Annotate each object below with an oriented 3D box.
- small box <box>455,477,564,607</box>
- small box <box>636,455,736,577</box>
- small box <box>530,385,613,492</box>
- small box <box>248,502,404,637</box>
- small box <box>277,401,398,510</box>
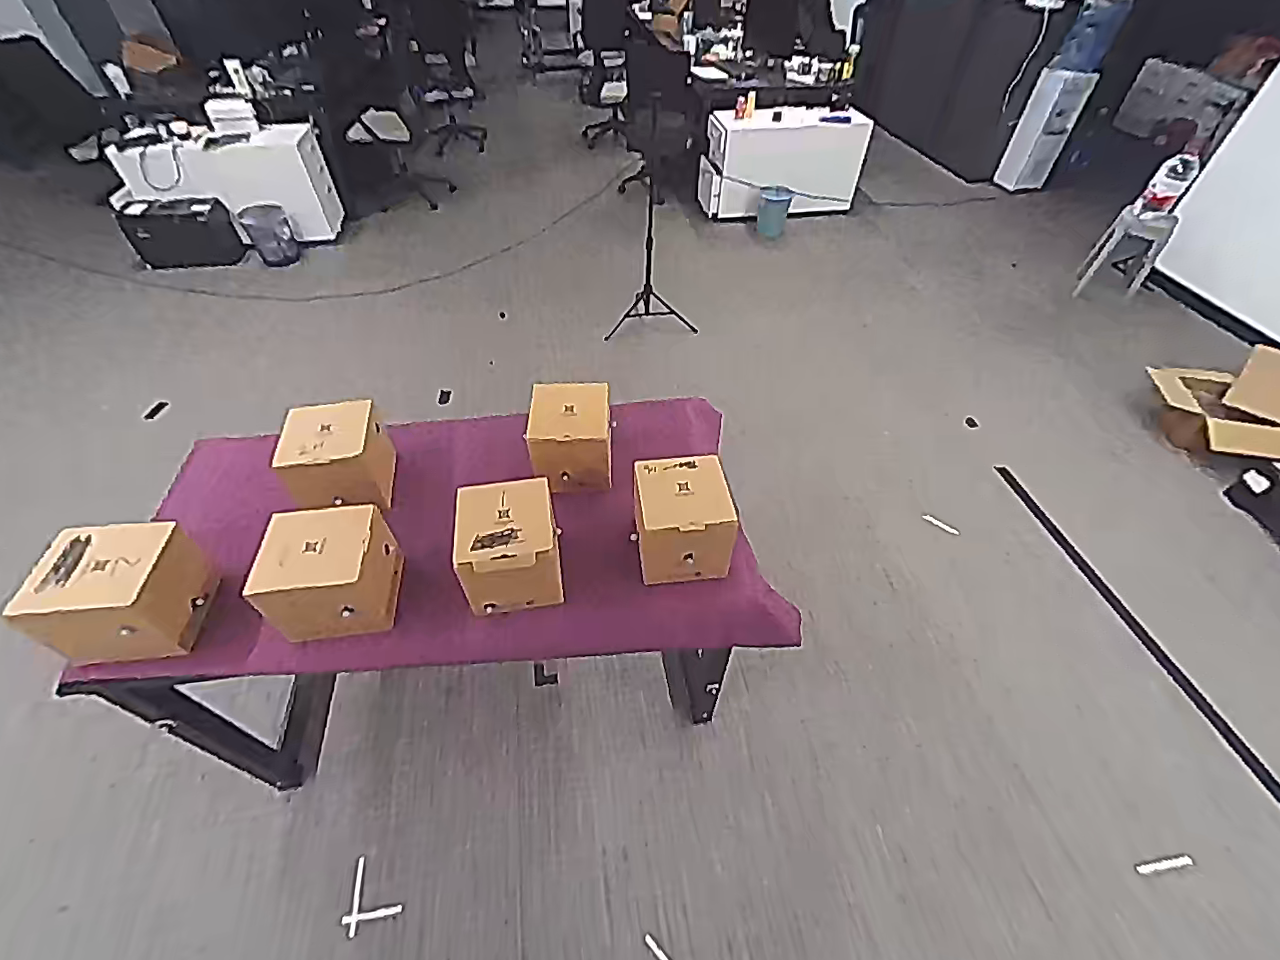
[{"bbox_3d":[-0.235,0.121,1.003,0.168,0.176,0.179,-7,47,-7],"label":"small box"},{"bbox_3d":[0.082,0.076,1.047,0.168,0.176,0.179,-4,46,-4],"label":"small box"},{"bbox_3d":[-0.146,-0.093,1.206,0.168,0.176,0.179,-1,49,-2],"label":"small box"},{"bbox_3d":[-0.538,0.160,0.961,0.179,0.176,0.168,-6,48,-6],"label":"small box"},{"bbox_3d":[-0.628,-0.044,1.152,0.168,0.176,0.179,-8,48,-8],"label":"small box"}]
